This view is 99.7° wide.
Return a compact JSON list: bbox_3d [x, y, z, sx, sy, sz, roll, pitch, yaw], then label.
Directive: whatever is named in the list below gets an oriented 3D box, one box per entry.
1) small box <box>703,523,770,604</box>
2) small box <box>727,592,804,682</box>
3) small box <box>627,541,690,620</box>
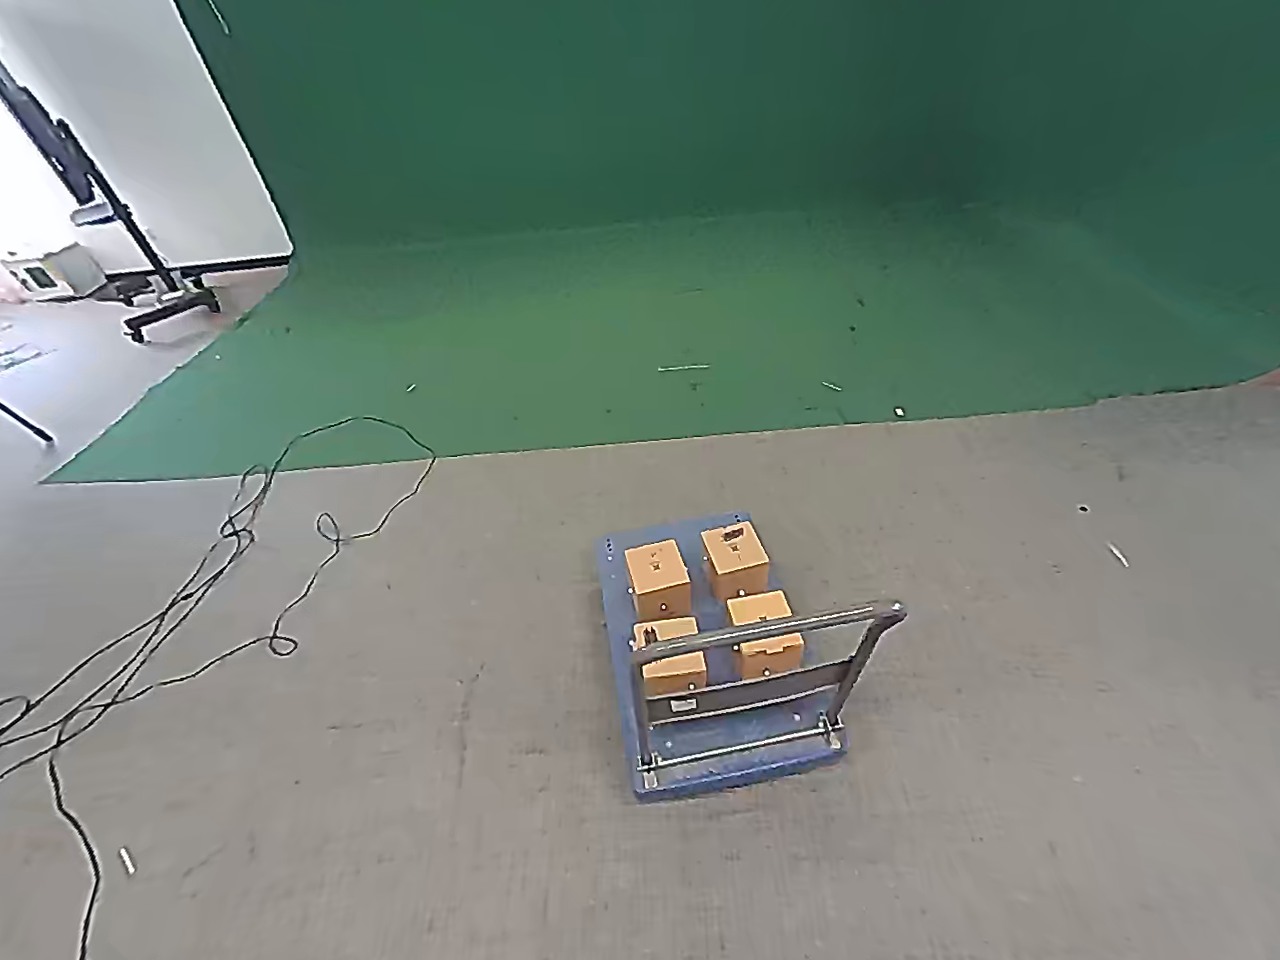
[{"bbox_3d":[0.304,0.271,1.748,0.168,0.176,0.179,-13,44,-6],"label":"small box"},{"bbox_3d":[0.351,0.450,1.551,0.168,0.176,0.179,-9,43,-3],"label":"small box"},{"bbox_3d":[0.061,0.326,1.718,0.168,0.176,0.179,-12,43,-7],"label":"small box"}]
